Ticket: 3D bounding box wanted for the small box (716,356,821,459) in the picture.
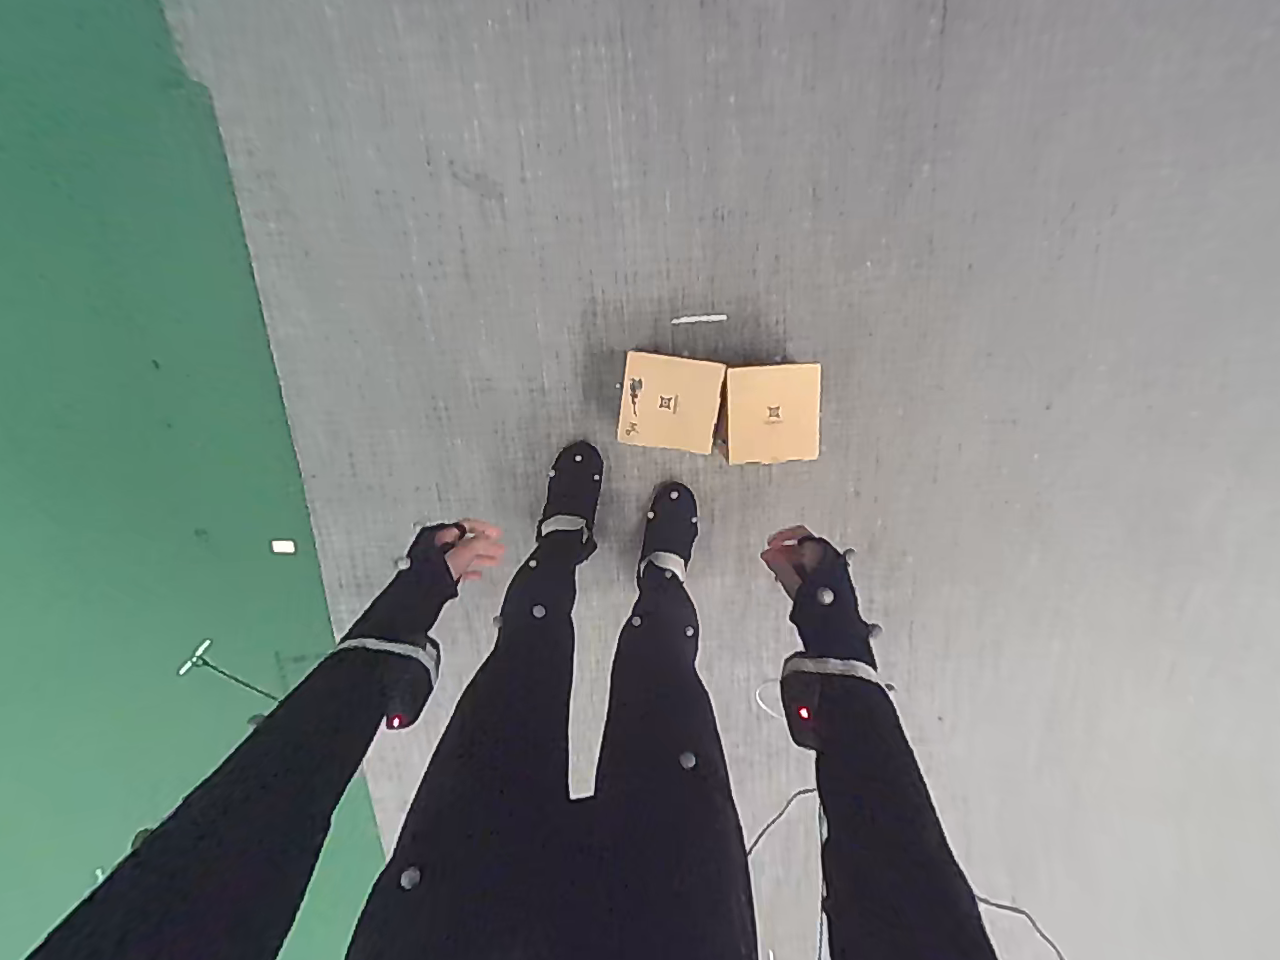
[{"bbox_3d":[0.238,-0.145,1.036,0.168,0.176,0.179,-3,106,2],"label":"small box"}]
